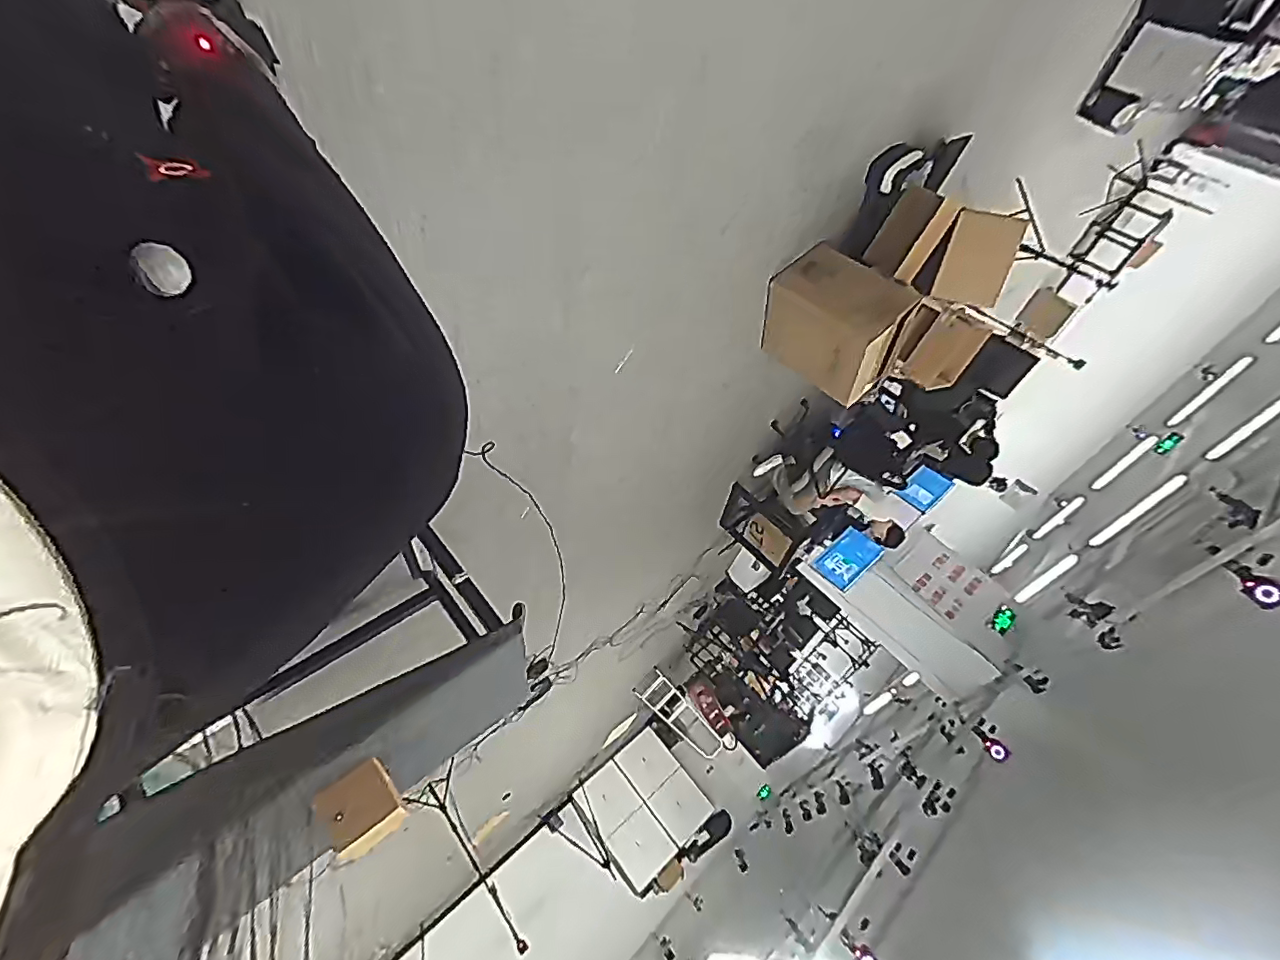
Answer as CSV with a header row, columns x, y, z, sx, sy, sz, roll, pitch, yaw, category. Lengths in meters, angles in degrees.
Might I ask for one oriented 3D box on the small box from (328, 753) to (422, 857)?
x,y,z,sx,sy,sz,roll,pitch,yaw,category
-0.754,0.919,1.533,0.179,0.176,0.168,-33,153,-30,small box
